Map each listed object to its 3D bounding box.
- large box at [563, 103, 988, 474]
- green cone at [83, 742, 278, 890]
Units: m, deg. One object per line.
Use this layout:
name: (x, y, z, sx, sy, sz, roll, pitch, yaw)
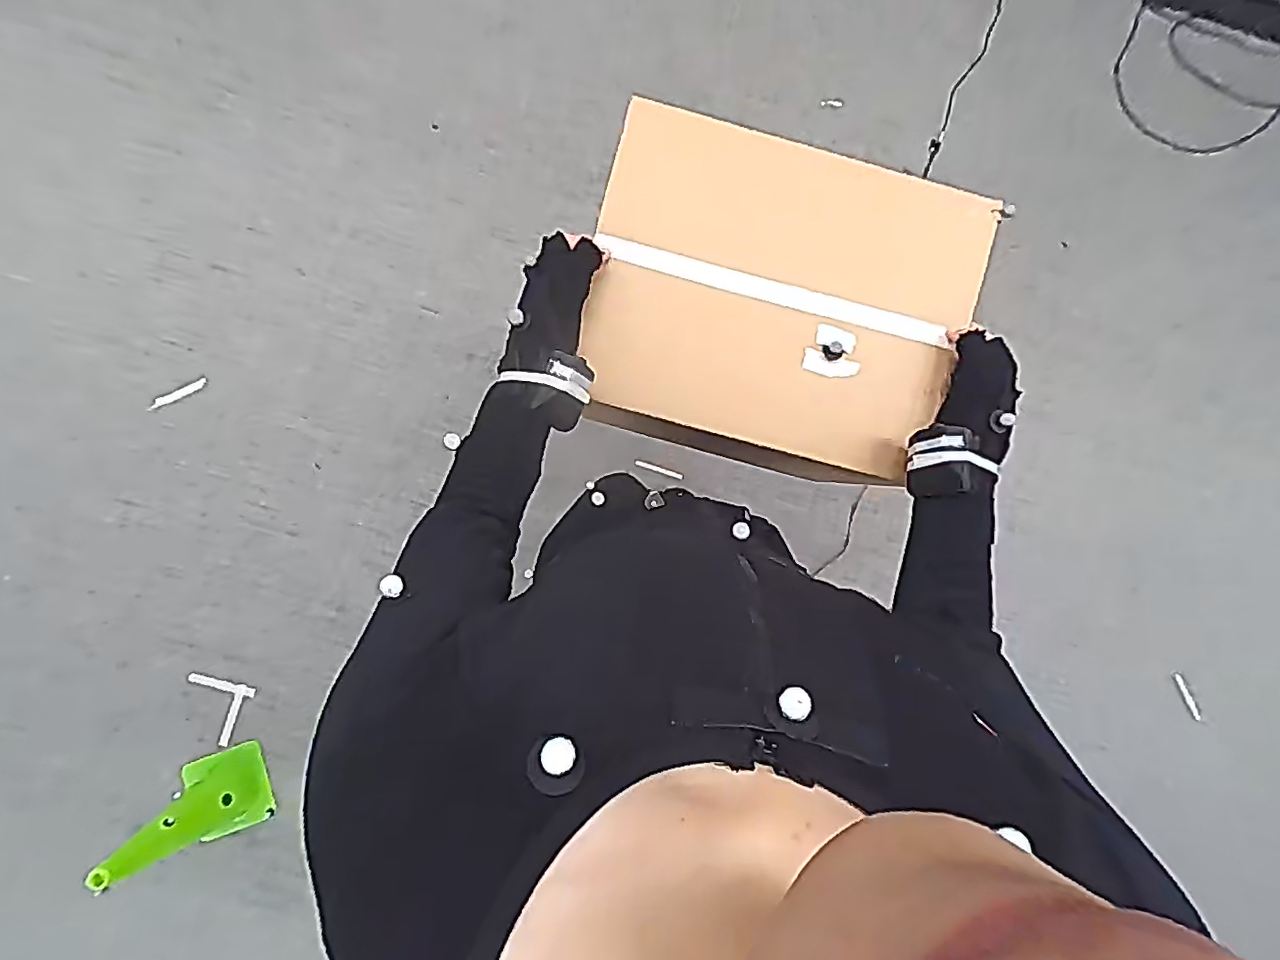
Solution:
large box: (0.138, -0.202, 0.716, 0.408, 0.320, 0.320, 15, 91, -2)
green cone: (-1.041, 0.775, 1.210, 0.202, 0.368, 0.200, -20, 85, -2)
